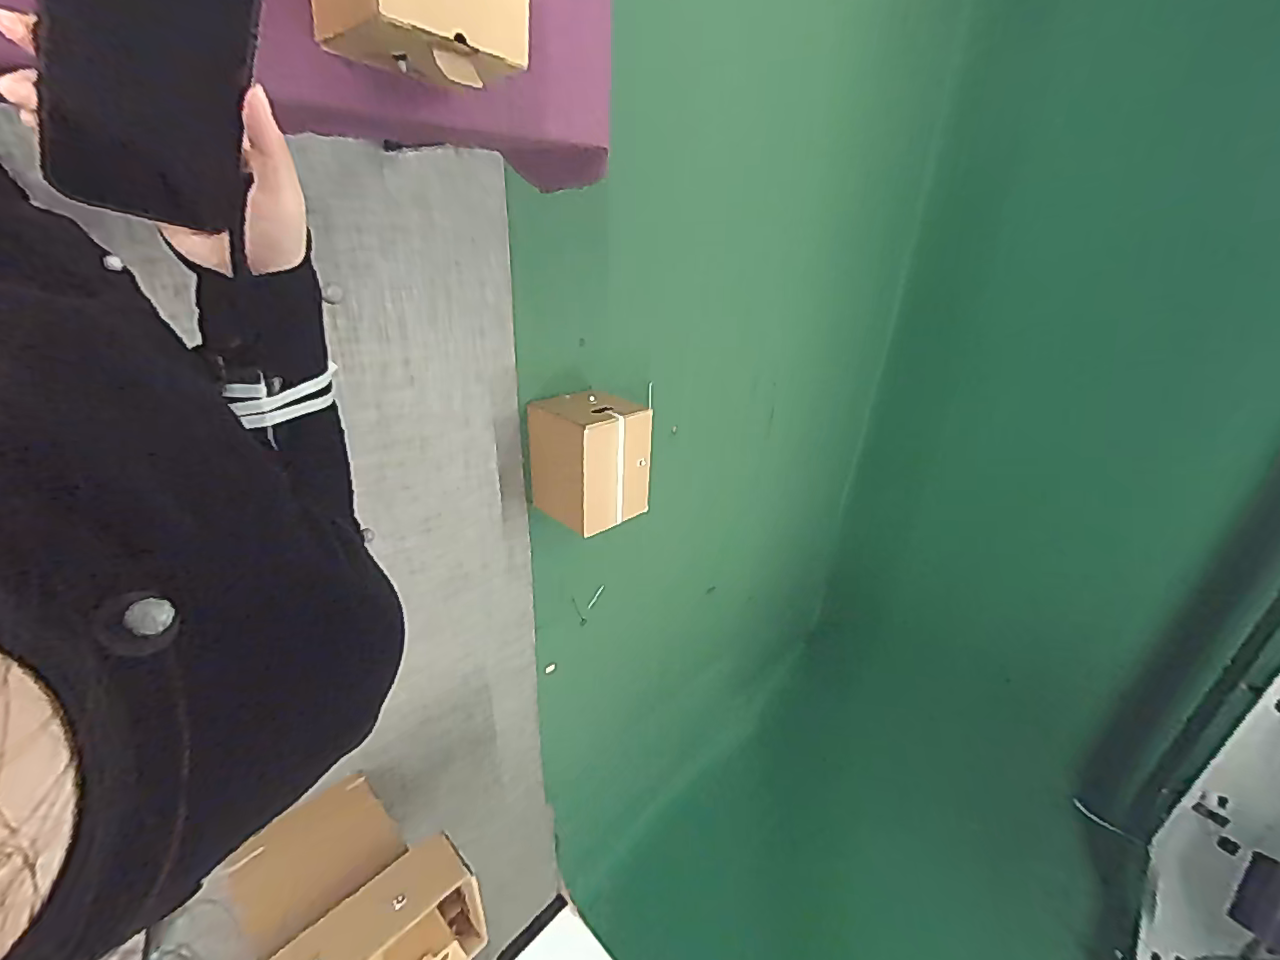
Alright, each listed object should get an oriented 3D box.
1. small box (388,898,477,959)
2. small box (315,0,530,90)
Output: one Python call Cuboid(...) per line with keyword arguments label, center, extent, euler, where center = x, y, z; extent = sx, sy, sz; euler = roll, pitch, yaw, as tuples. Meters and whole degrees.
Cuboid(label="small box", center=(-0.602, 1.371, 1.567), extent=(0.168, 0.176, 0.179), euler=(-31, 131, -34))
Cuboid(label="small box", center=(-0.231, -0.541, 0.566), extent=(0.168, 0.176, 0.179), euler=(-17, 122, -42))
